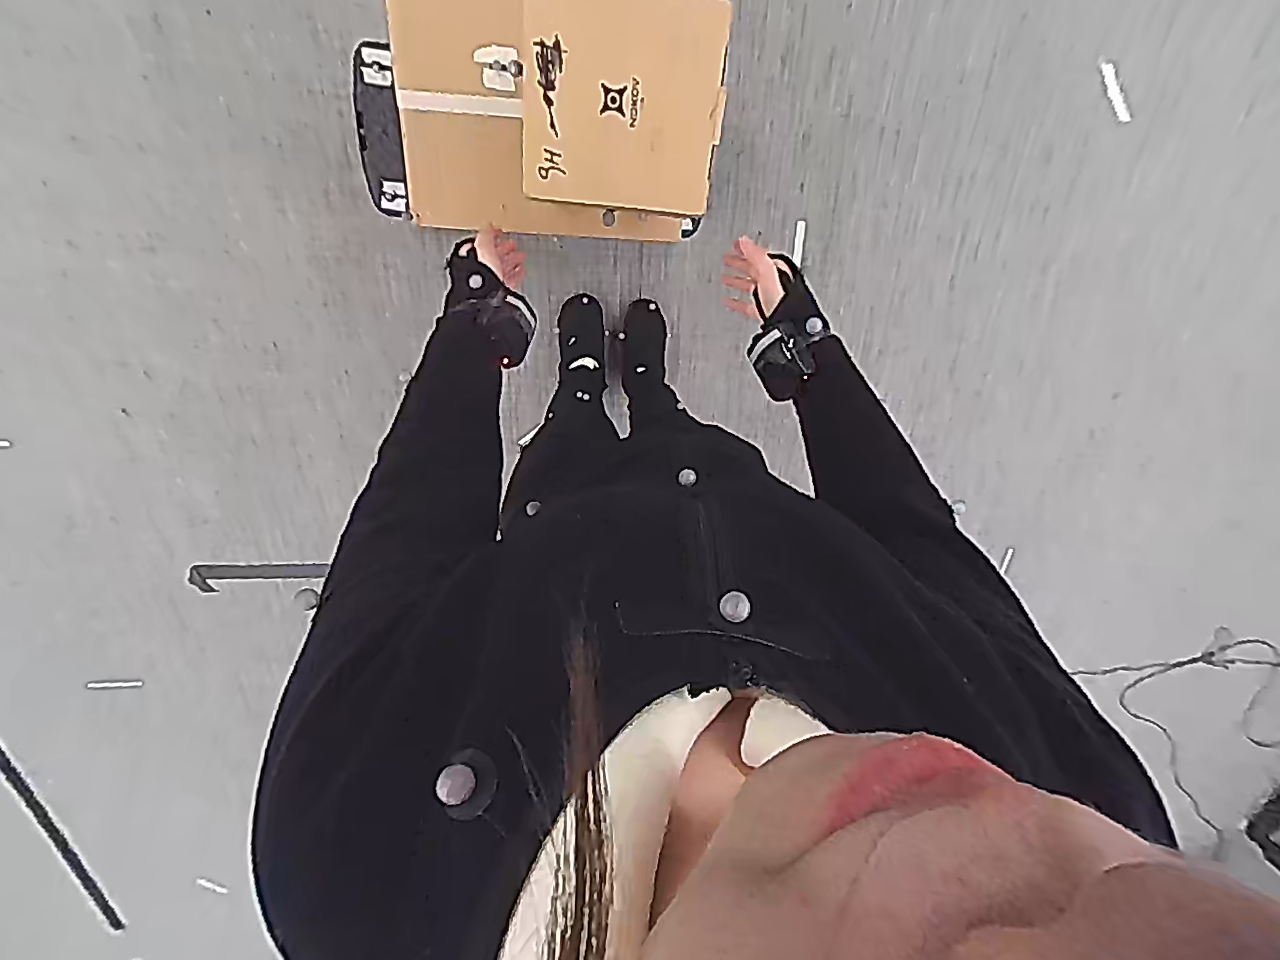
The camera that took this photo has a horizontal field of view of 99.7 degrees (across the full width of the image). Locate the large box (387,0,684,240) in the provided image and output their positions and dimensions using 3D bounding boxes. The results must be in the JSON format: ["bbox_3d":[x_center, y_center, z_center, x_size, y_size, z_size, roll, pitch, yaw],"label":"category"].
[{"bbox_3d":[-0.136,-0.574,0.878,0.408,0.320,0.320,1,115,-5],"label":"large box"}]

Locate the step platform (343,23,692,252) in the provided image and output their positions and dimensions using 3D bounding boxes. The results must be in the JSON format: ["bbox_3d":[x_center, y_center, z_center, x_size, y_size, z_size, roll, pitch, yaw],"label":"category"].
[{"bbox_3d":[-0.214,-0.662,1.092,0.684,0.204,0.286,6,115,-8],"label":"step platform"}]

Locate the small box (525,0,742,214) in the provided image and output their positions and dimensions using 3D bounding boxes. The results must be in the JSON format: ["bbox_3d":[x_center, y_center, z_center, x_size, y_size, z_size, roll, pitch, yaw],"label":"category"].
[{"bbox_3d":[-0.019,-0.365,0.536,0.179,0.176,0.168,3,115,-8],"label":"small box"}]
